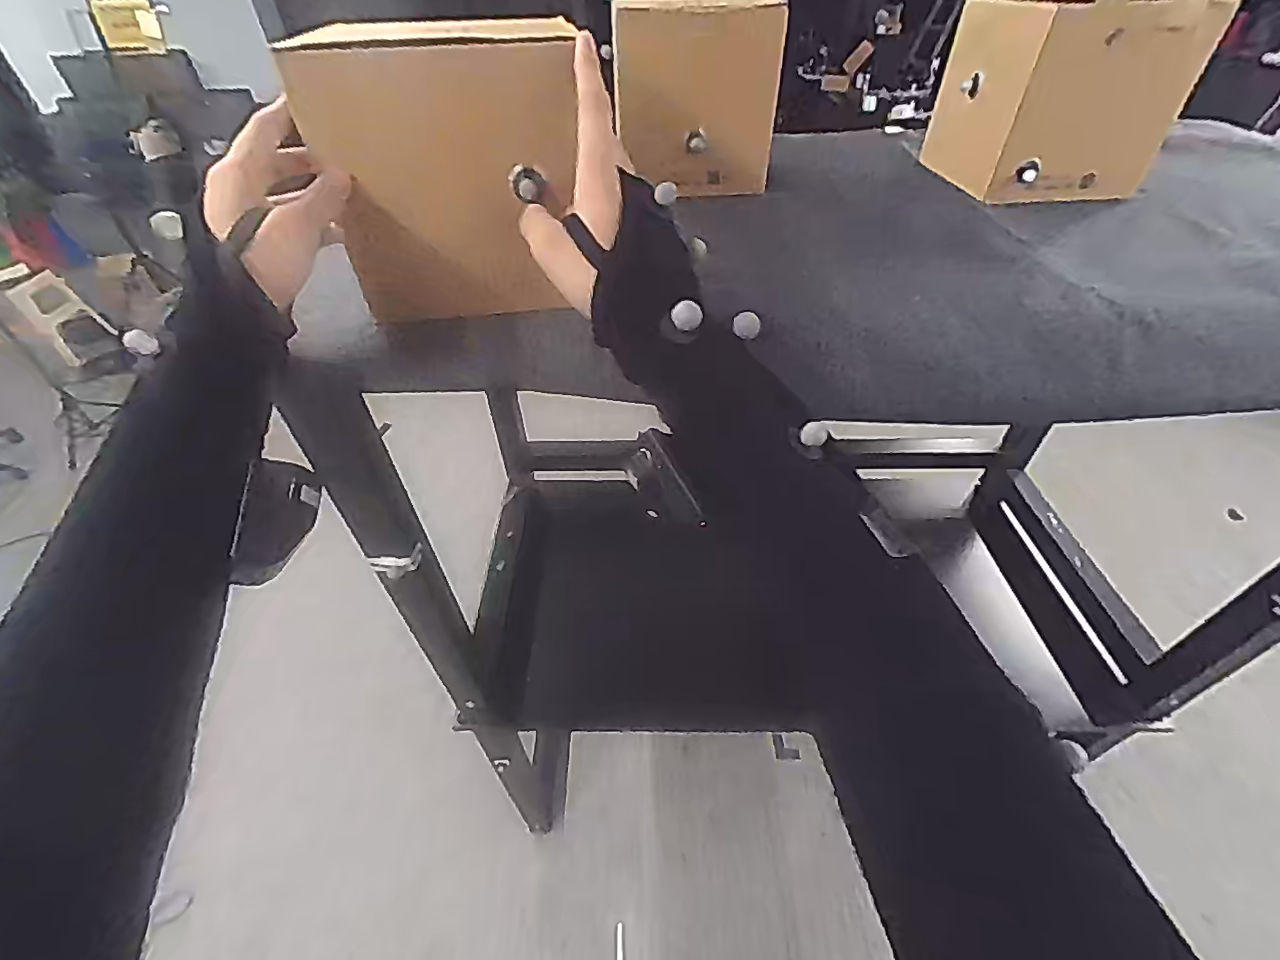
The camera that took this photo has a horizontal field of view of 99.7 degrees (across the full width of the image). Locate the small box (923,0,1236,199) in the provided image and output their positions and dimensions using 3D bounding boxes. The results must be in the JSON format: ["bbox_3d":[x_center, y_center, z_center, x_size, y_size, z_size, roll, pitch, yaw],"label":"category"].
[{"bbox_3d":[0.445,-0.418,0.589,0.168,0.176,0.179,-2,43,-1],"label":"small box"}]

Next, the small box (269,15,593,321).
[{"bbox_3d":[-0.129,-0.239,0.415,0.179,0.176,0.168,-7,44,-6],"label":"small box"}]

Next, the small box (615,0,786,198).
[{"bbox_3d":[0.055,-0.441,0.623,0.168,0.176,0.179,-3,44,-1],"label":"small box"}]
